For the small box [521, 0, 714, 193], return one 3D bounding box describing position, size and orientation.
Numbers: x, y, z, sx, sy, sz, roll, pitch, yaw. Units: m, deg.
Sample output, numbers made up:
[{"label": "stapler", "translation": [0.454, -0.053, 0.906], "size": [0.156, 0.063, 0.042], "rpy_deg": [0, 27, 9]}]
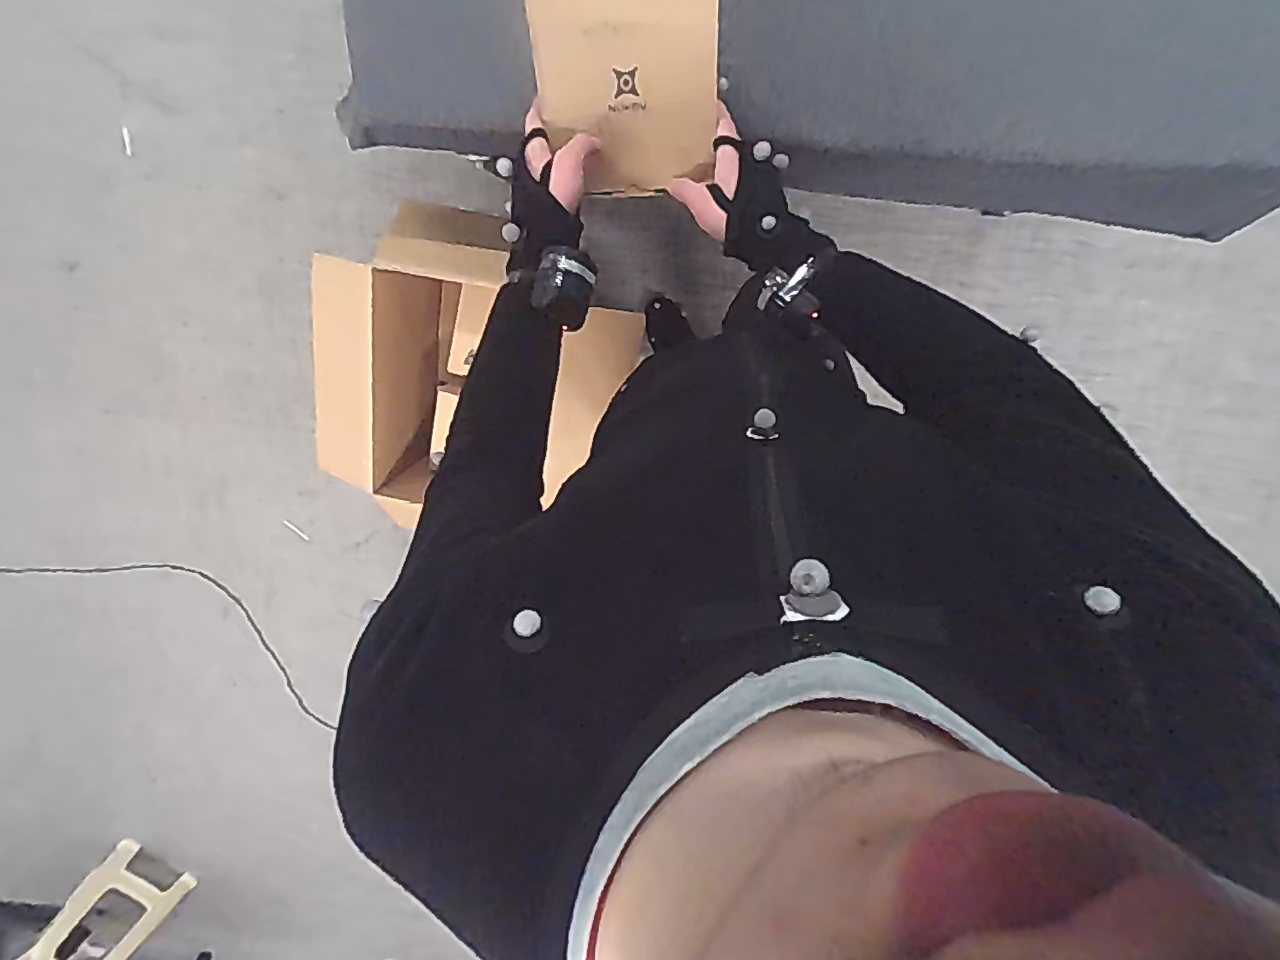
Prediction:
[{"label": "small box", "translation": [-0.013, -0.410, 0.551], "size": [0.168, 0.176, 0.179], "rpy_deg": [-2, 127, 4]}]
